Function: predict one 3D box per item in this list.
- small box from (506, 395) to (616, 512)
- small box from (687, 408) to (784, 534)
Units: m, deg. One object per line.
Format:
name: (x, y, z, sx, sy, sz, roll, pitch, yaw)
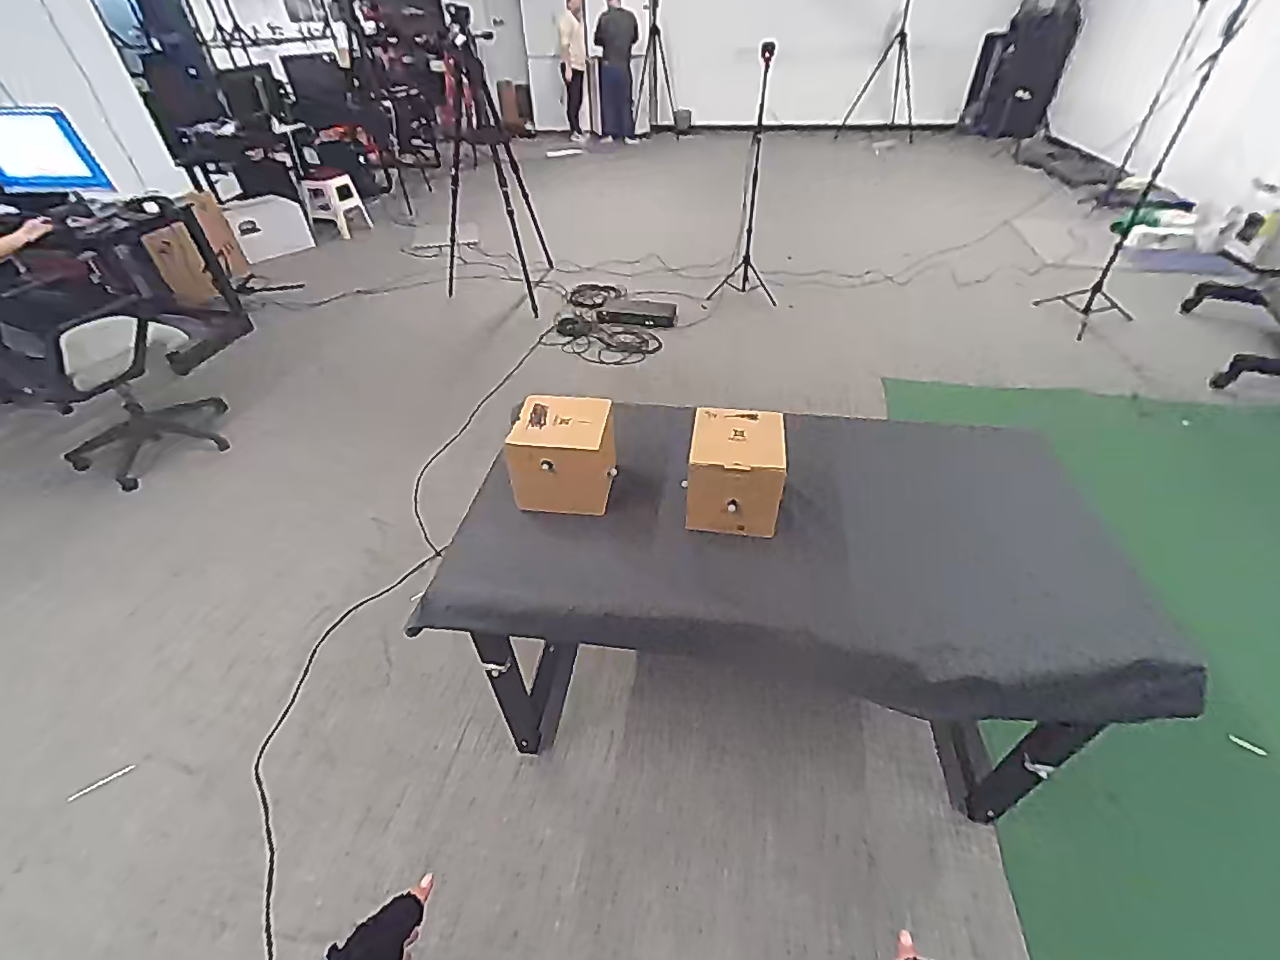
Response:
small box: (-0.146, -0.051, 1.077, 0.179, 0.176, 0.168, 4, 42, 5)
small box: (0.180, -0.016, 1.029, 0.168, 0.176, 0.179, 5, 42, 8)
